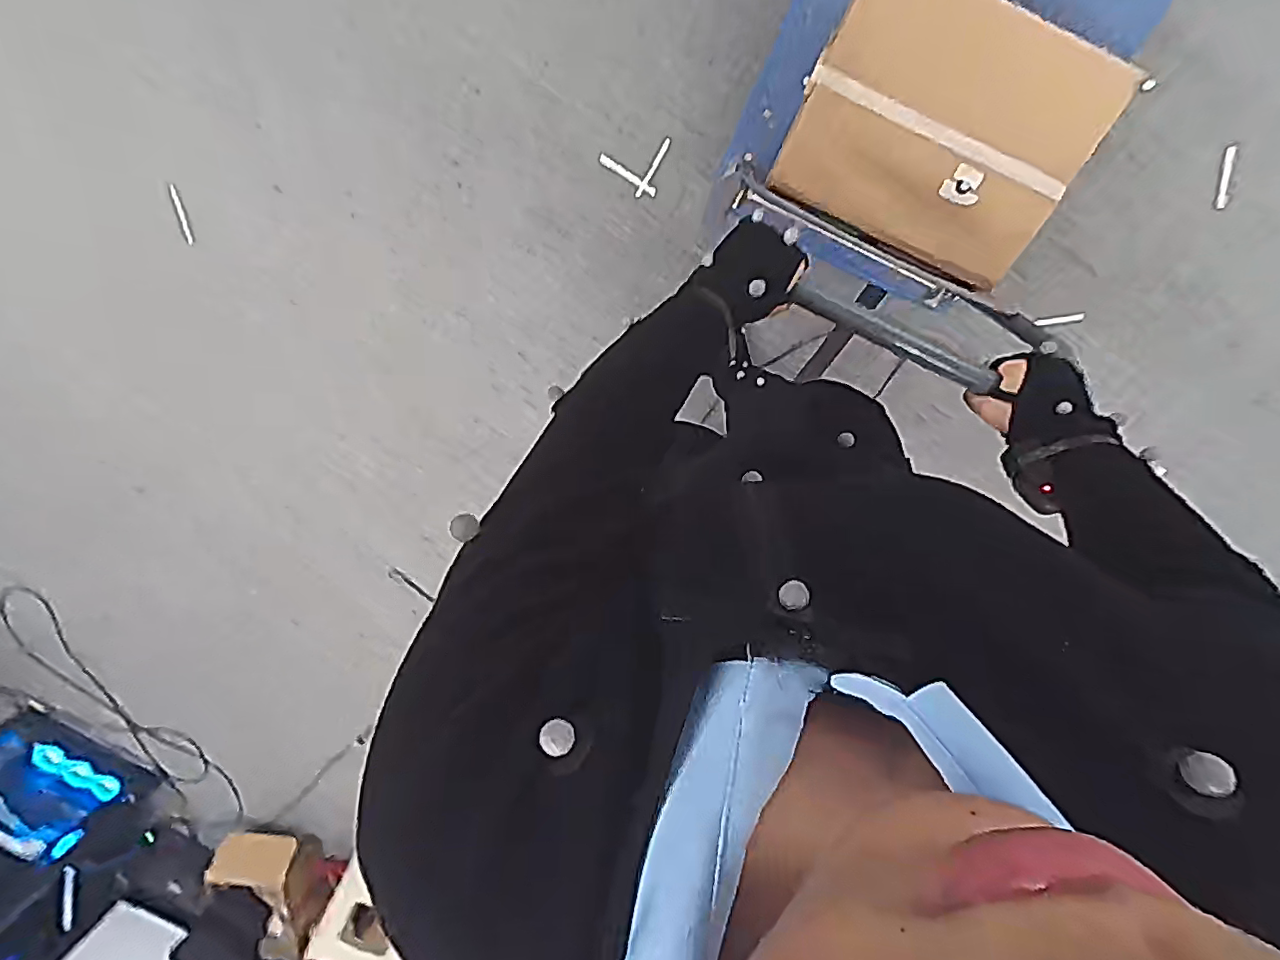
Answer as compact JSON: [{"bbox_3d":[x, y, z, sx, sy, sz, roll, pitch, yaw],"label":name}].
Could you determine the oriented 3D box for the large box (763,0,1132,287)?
[{"bbox_3d":[0.468,-0.582,0.941,0.408,0.320,0.320,24,120,-3],"label":"large box"}]
